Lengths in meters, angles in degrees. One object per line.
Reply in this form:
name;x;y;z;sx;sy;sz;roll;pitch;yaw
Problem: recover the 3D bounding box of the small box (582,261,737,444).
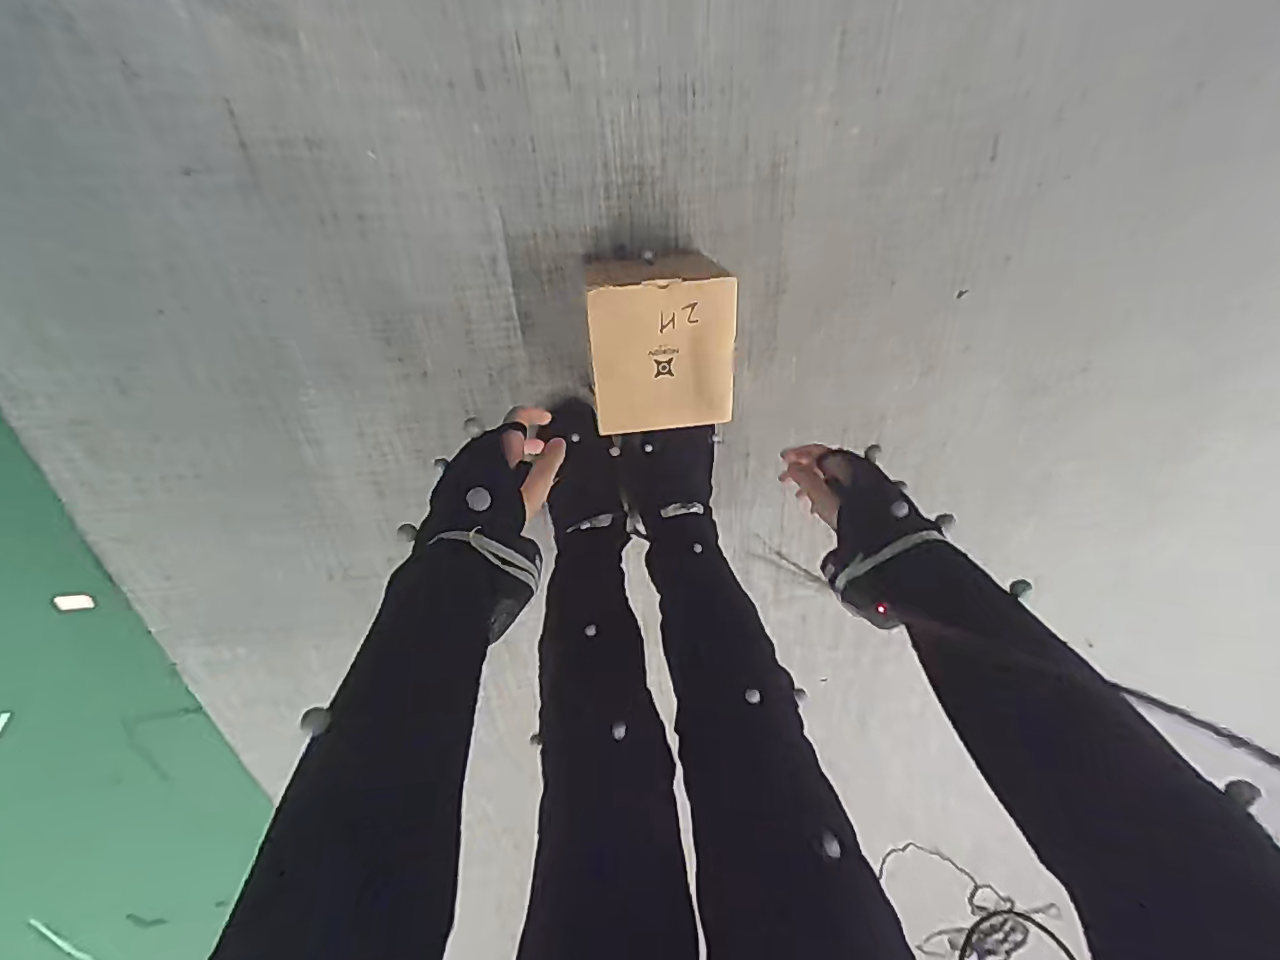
small box;0.017;-0.166;0.683;0.168;0.176;0.179;-6;121;-5
